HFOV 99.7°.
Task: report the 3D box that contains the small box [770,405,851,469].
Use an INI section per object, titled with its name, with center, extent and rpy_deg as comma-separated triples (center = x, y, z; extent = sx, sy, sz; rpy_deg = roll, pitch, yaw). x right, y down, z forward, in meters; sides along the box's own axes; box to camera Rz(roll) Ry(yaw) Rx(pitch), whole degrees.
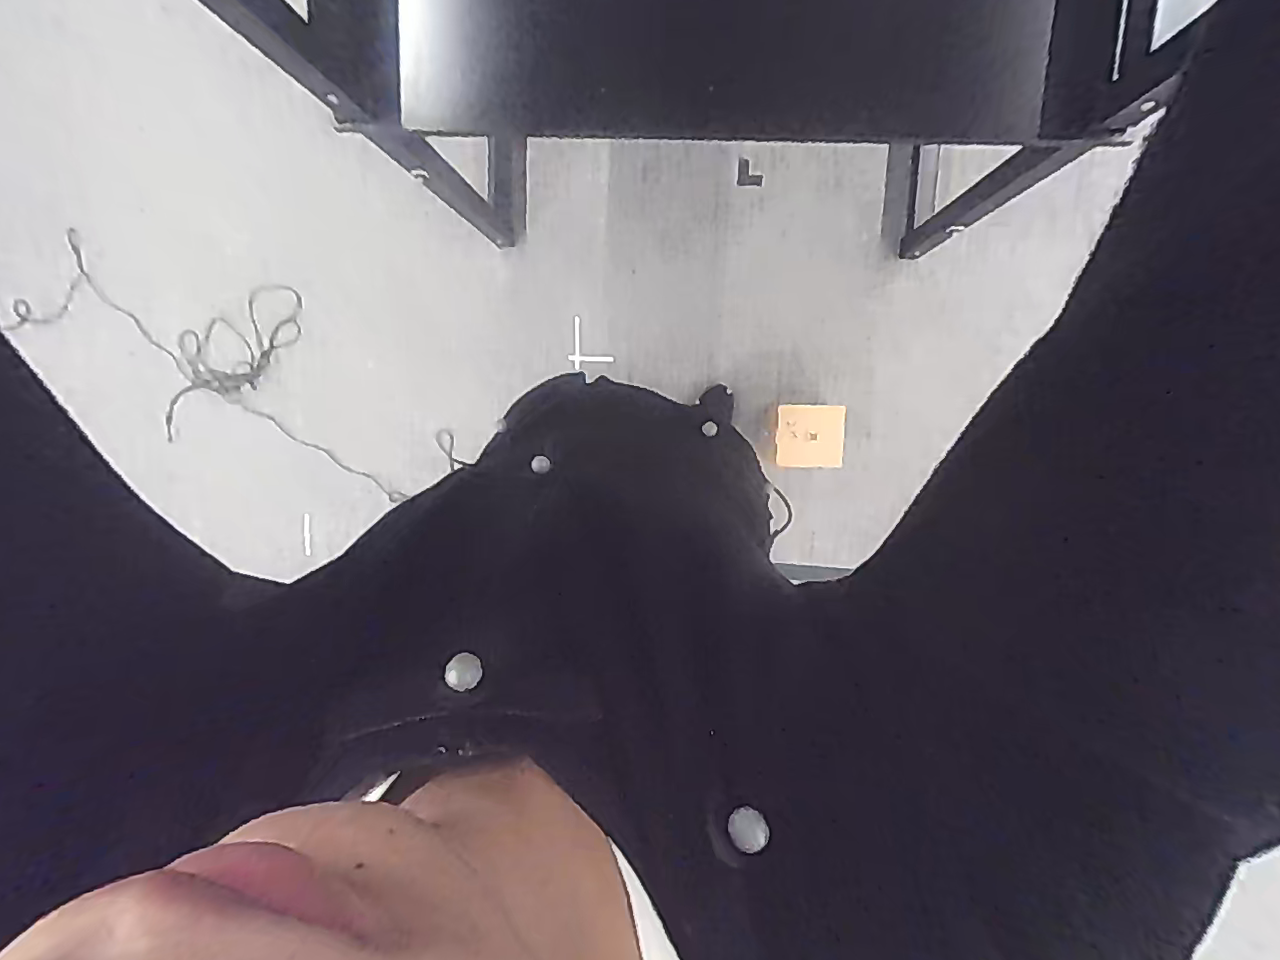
[small box]
center = 0.465, -0.123, 1.495
extent = 0.179, 0.176, 0.168
rpy_deg = 2, 98, 5
